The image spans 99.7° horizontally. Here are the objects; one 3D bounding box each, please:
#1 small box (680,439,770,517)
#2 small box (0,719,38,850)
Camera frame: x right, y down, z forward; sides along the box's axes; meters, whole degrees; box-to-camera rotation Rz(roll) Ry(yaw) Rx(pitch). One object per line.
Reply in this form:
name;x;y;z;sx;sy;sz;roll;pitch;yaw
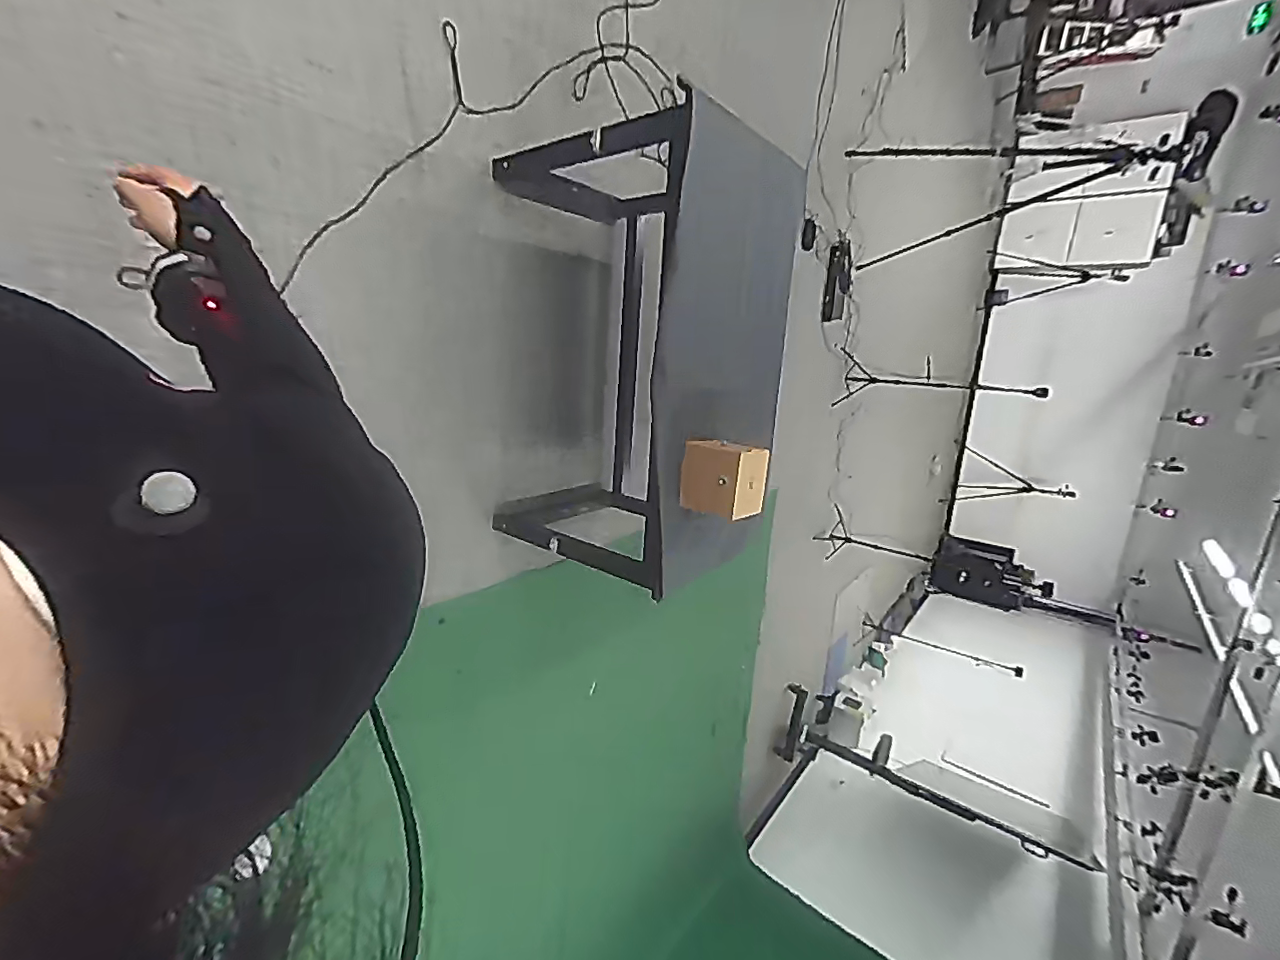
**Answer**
small box;0.222;-0.014;1.427;0.168;0.176;0.179;-8;107;-51
small box;-1.174;0.539;0.929;0.168;0.176;0.179;-8;105;-52
